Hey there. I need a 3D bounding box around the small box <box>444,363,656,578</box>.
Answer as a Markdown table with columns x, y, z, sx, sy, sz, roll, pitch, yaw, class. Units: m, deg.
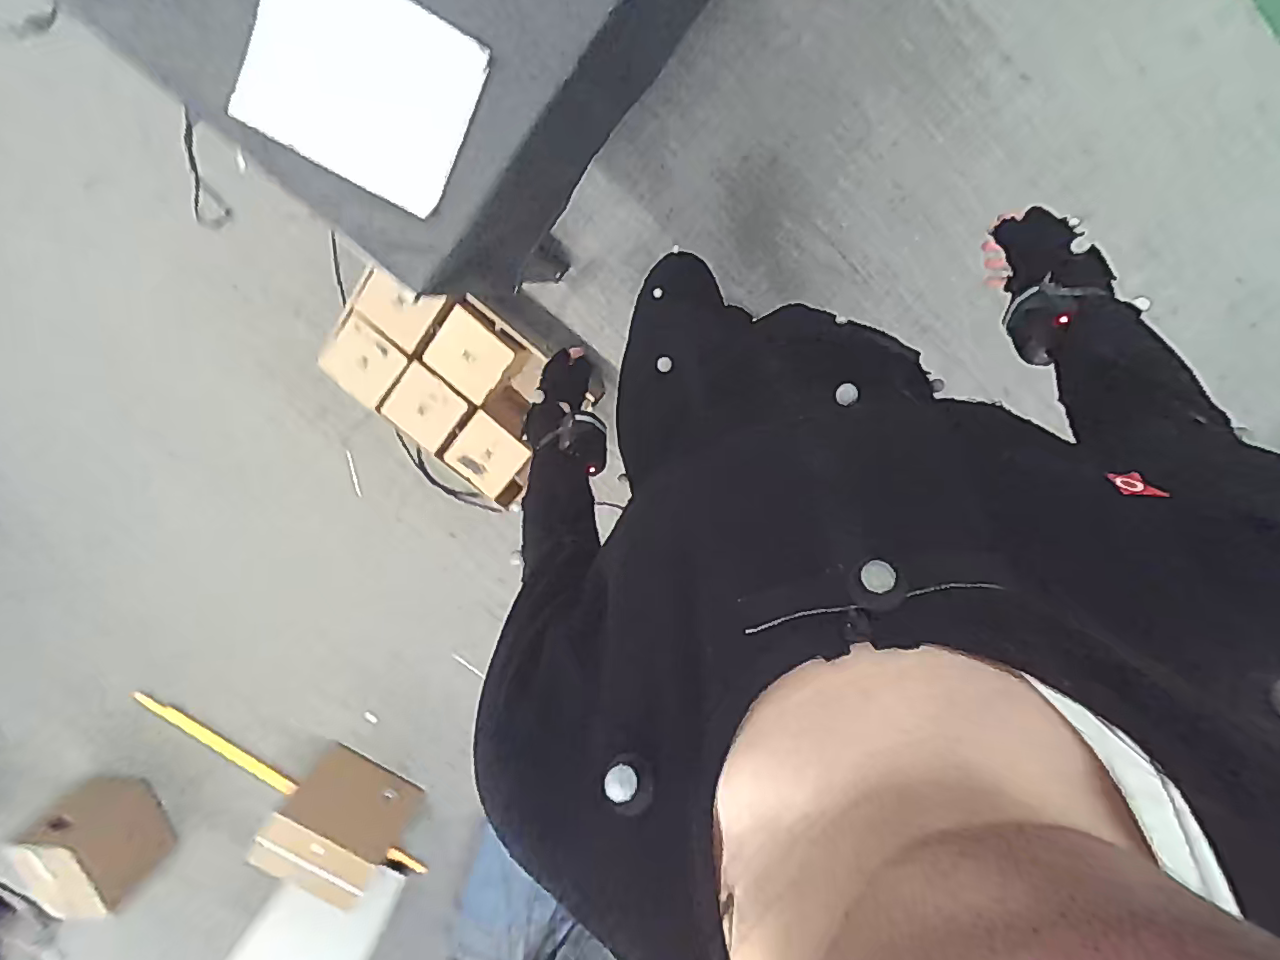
| x | y | z | sx | sy | sz | roll | pitch | yaw | class |
| --- | --- | --- | --- | --- | --- | --- | --- | --- | --- |
| -0.109 | -0.018 | 0.644 | 0.176 | 0.179 | 0.168 | -35 | 111 | 0 | small box |
